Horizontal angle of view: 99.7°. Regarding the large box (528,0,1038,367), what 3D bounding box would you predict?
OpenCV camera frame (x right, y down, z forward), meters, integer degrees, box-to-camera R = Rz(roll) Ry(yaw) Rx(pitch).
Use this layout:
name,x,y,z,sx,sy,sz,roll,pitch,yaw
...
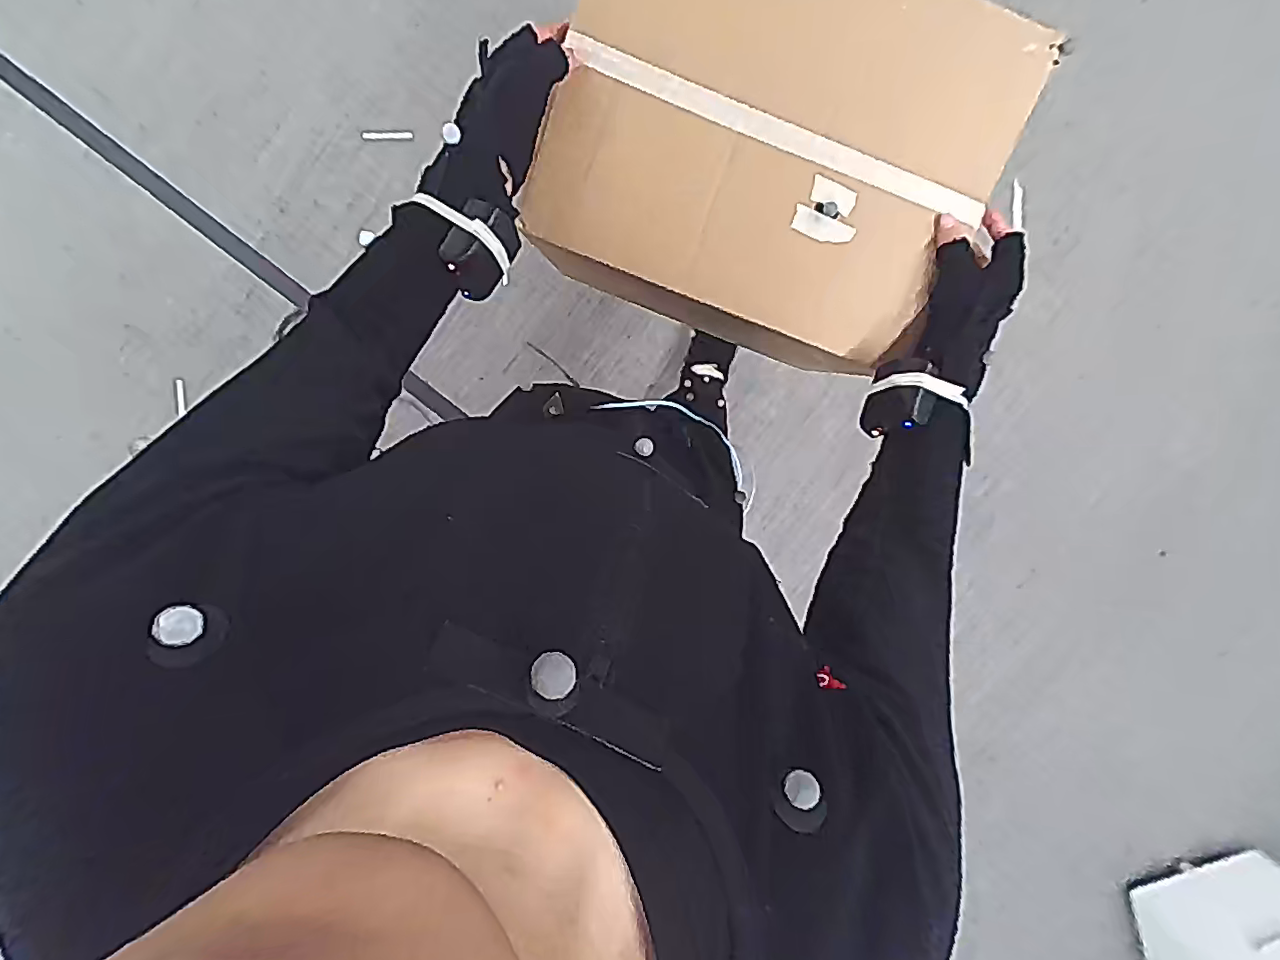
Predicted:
name,x,y,z,sx,sy,sz,roll,pitch,yaw
large box,0.122,-0.350,0.647,0.408,0.320,0.320,20,103,-5
